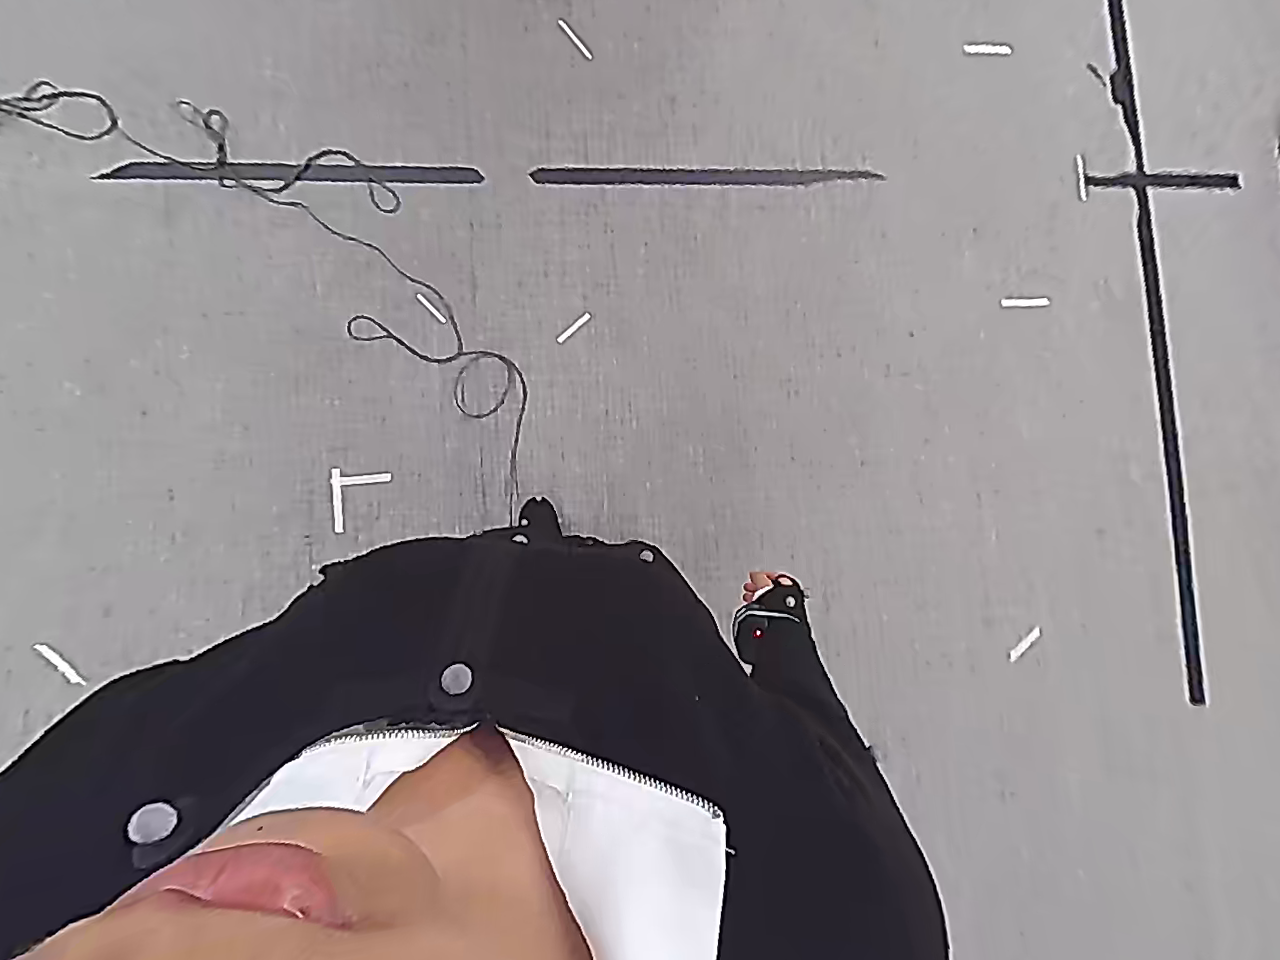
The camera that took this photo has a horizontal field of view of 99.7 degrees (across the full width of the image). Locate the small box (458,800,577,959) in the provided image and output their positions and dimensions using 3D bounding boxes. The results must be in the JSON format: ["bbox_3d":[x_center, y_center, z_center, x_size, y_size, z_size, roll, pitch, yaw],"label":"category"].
[{"bbox_3d":[-0.192,0.660,0.884,0.168,0.176,0.179,-4,83,-6],"label":"small box"}]
